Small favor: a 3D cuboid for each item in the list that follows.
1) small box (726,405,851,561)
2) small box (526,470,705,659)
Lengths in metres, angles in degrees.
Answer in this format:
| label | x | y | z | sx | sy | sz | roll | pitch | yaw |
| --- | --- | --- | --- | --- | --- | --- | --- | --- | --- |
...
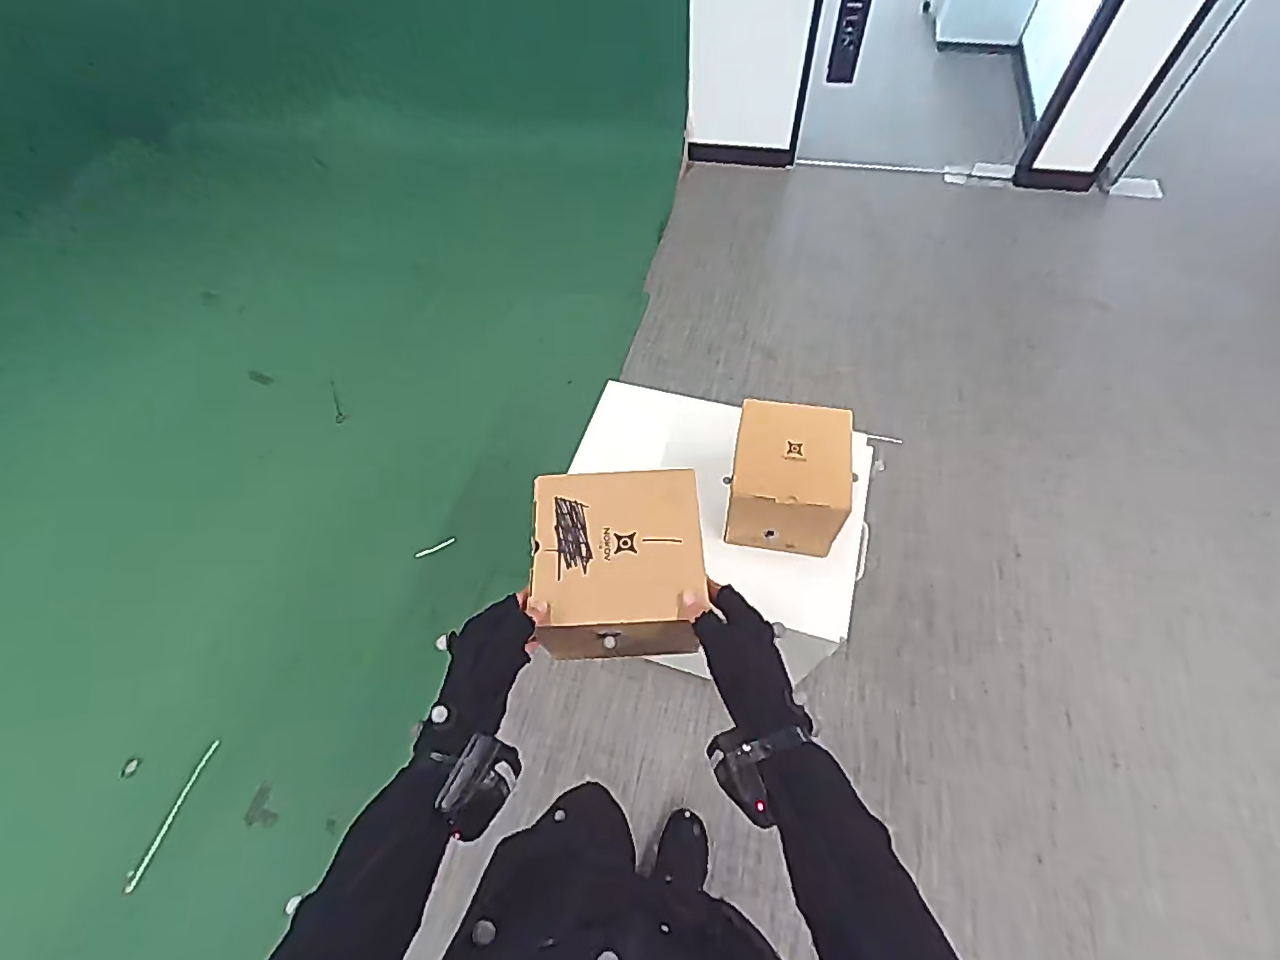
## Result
| label | x | y | z | sx | sy | sz | roll | pitch | yaw |
| --- | --- | --- | --- | --- | --- | --- | --- | --- | --- |
| small box | 0.230 | 0.008 | 0.859 | 0.168 | 0.176 | 0.179 | 7 | 59 | 9 |
| small box | -0.023 | 0.104 | 0.623 | 0.179 | 0.176 | 0.168 | -3 | 61 | 0 |
